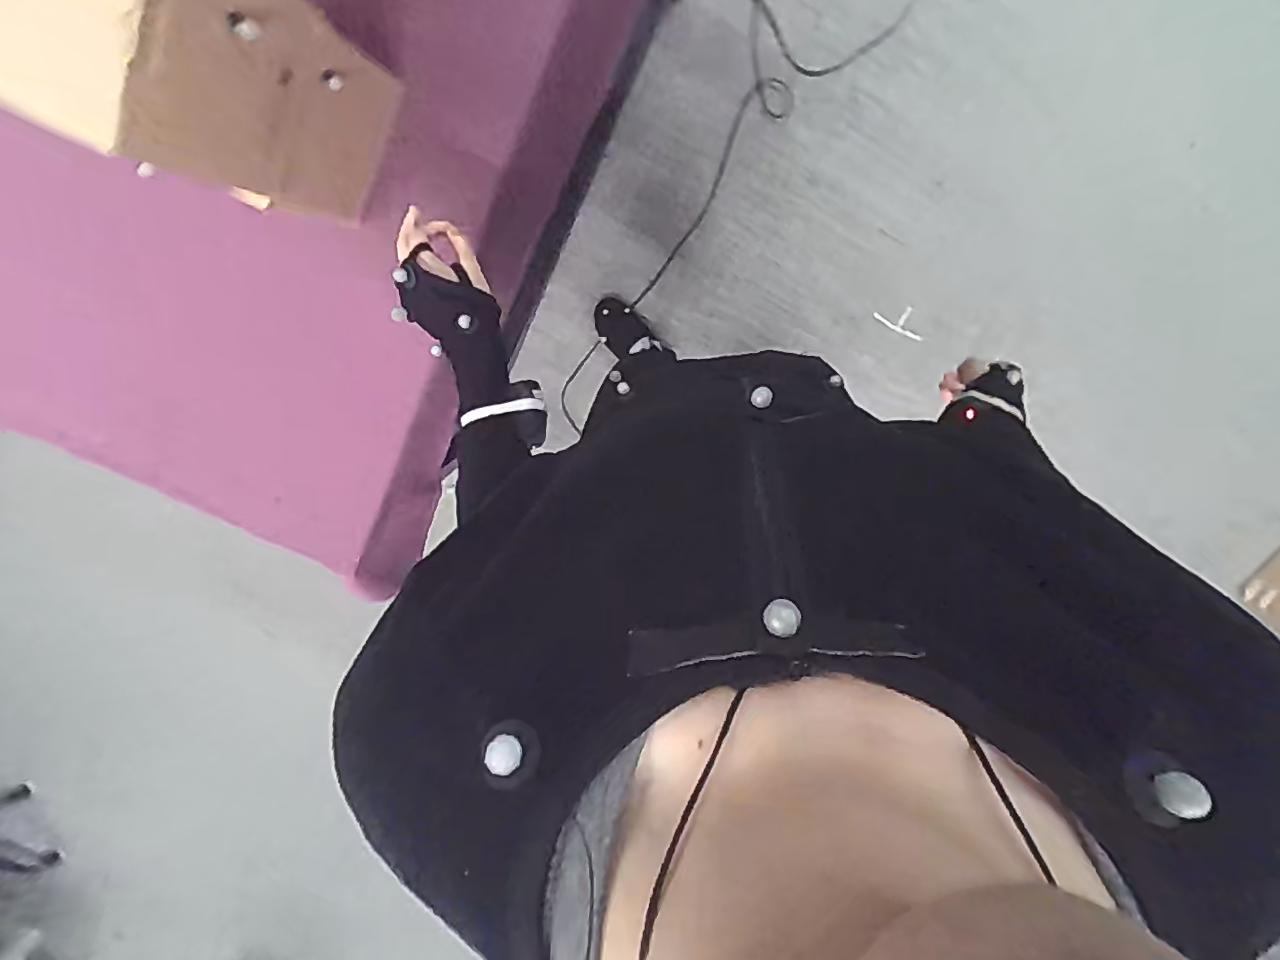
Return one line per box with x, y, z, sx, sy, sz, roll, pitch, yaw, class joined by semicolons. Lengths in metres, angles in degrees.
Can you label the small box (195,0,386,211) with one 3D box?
-0.398;-0.411;0.566;0.168;0.176;0.179;27;107;-6;small box
